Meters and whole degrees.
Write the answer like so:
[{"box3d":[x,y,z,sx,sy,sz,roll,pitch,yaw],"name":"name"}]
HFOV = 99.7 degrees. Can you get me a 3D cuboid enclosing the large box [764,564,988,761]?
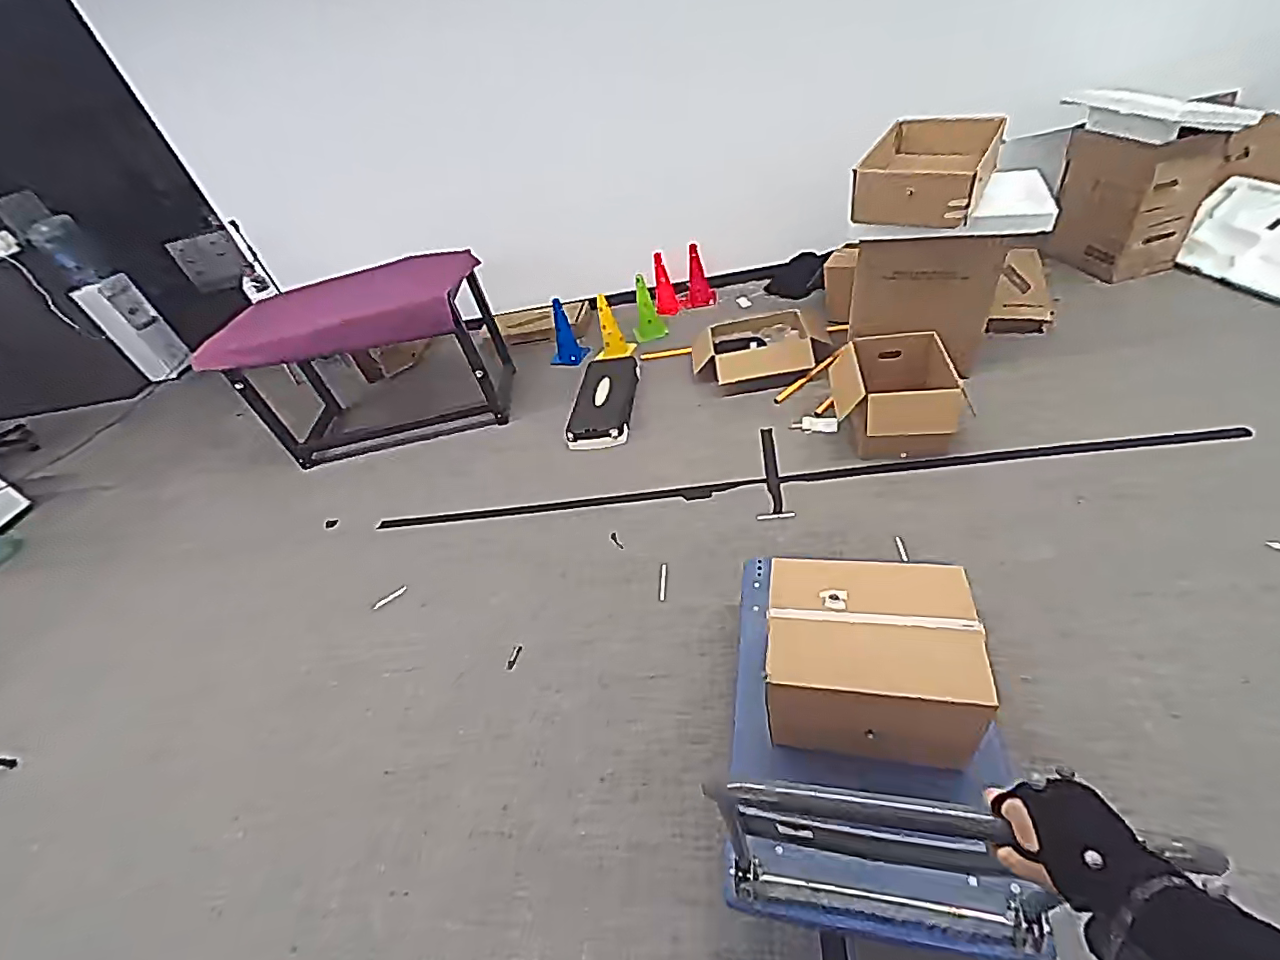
[{"box3d":[0.501,0.407,1.229,0.408,0.320,0.320,-2,42,17],"name":"large box"}]
